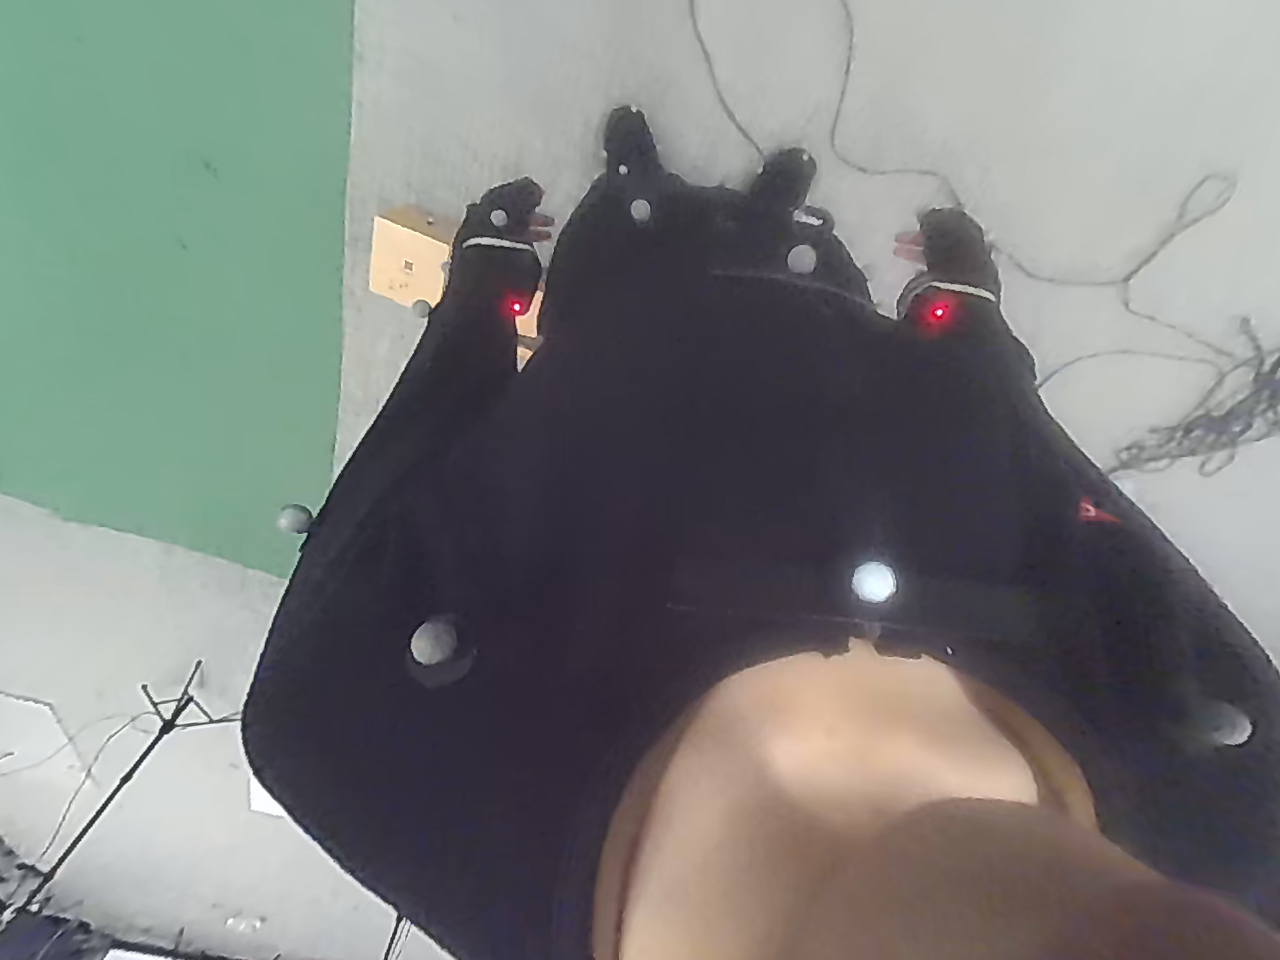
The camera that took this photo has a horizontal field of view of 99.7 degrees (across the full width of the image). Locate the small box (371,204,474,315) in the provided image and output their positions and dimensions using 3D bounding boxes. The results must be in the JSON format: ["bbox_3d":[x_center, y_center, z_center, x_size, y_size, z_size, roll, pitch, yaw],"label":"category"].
[{"bbox_3d":[-0.505,-0.523,1.273,0.168,0.176,0.179,20,125,-9],"label":"small box"}]
